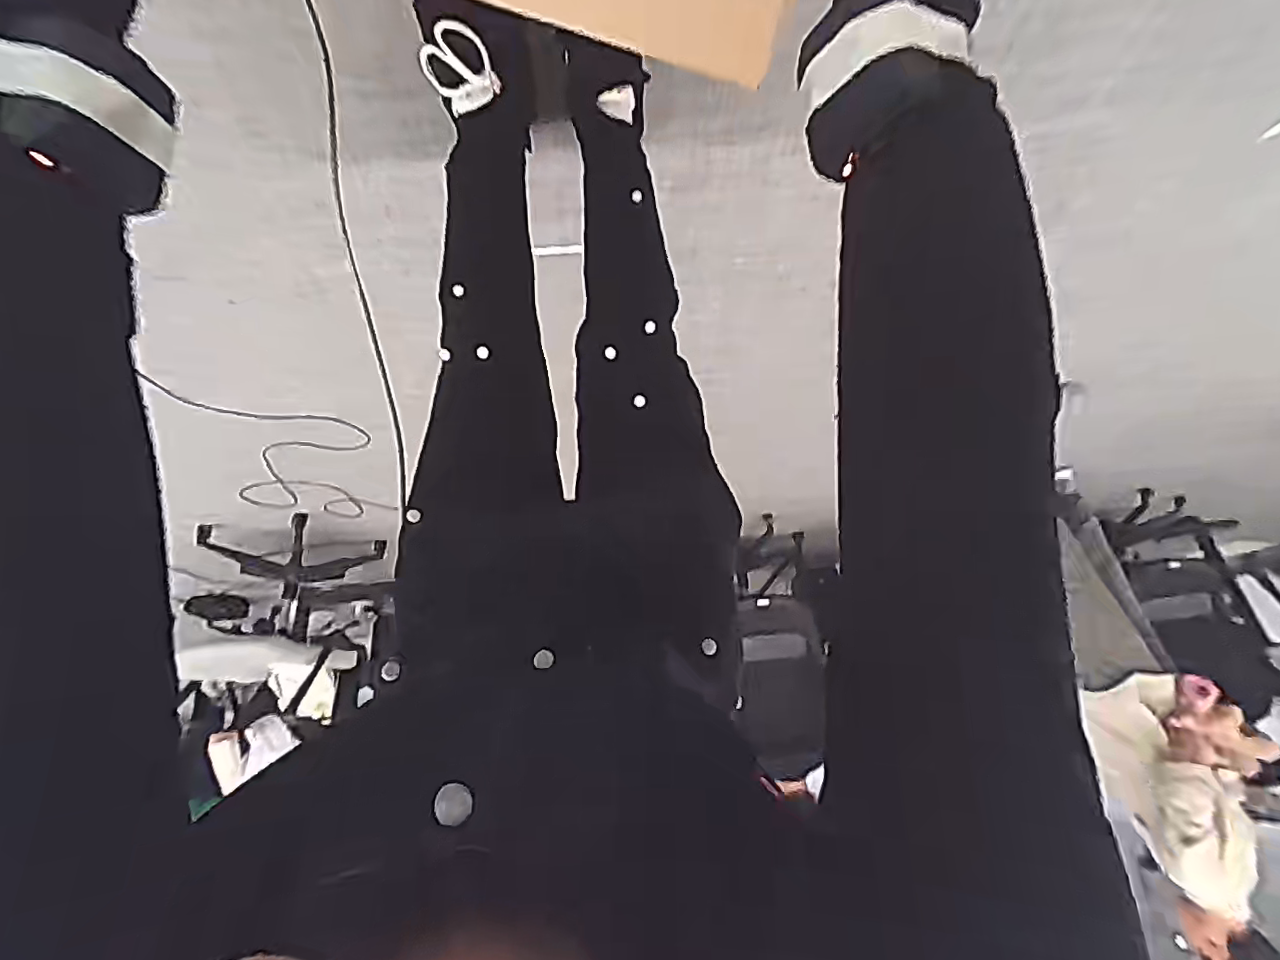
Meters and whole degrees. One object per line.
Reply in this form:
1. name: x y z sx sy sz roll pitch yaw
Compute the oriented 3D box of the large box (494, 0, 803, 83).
1. large box: -0.036 -0.525 0.314 0.408 0.320 0.320 21 153 3
